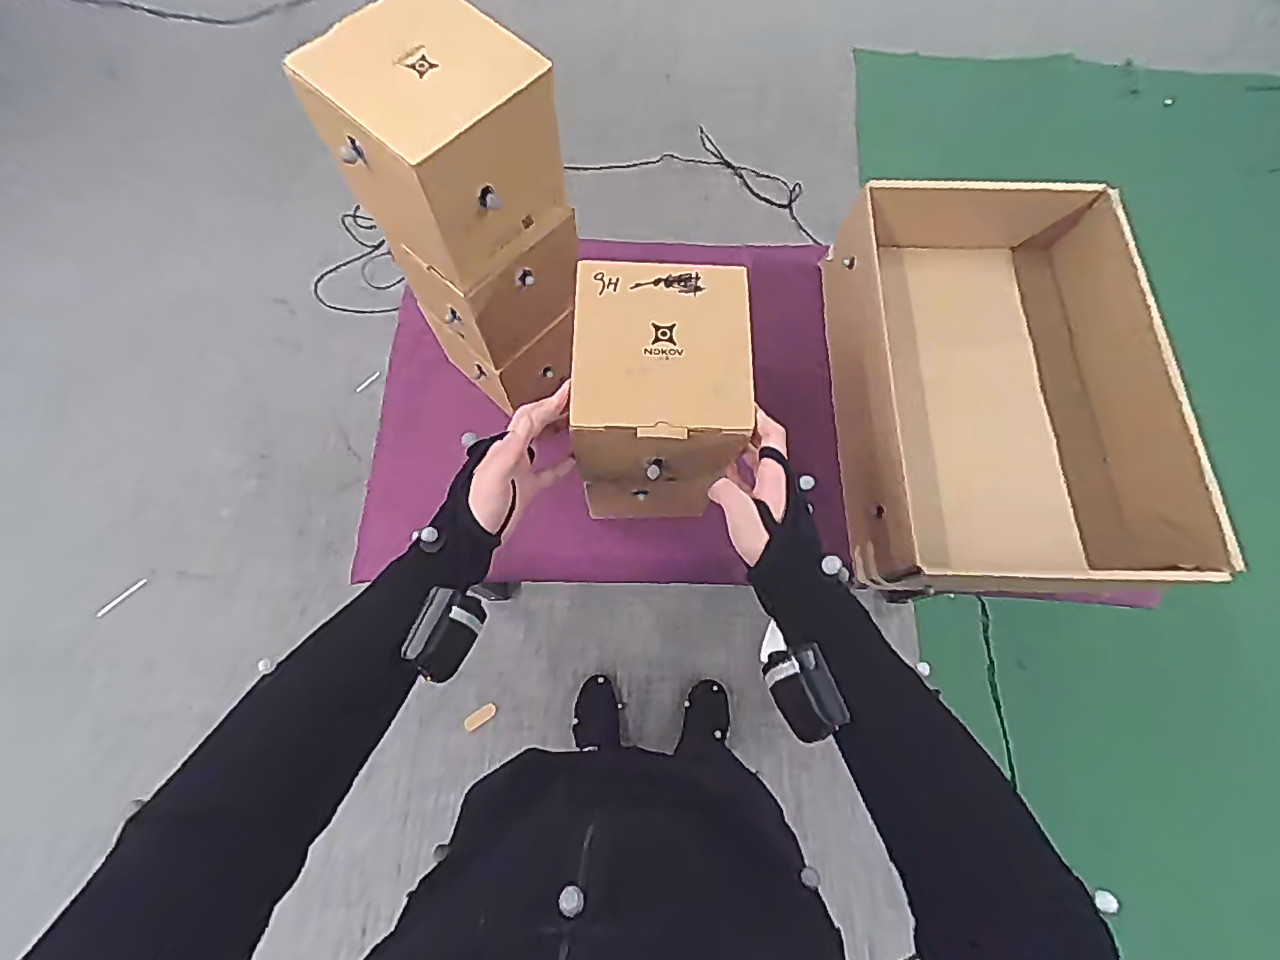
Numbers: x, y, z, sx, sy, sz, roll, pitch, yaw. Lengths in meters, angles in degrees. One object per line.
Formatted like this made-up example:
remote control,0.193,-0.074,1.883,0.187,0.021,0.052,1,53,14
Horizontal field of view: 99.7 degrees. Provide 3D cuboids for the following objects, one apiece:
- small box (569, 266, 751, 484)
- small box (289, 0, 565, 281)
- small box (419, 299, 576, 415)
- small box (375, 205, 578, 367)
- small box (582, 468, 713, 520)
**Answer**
small box,0.017,-0.099,0.577,0.168,0.176,0.179,2,74,-3
small box,-0.194,-0.336,0.553,0.179,0.176,0.168,41,75,11
small box,-0.206,-0.226,0.858,0.179,0.176,0.168,42,74,12
small box,-0.195,-0.283,0.706,0.168,0.176,0.179,43,75,10
small box,0.009,-0.041,0.799,0.179,0.176,0.168,-1,70,-2
